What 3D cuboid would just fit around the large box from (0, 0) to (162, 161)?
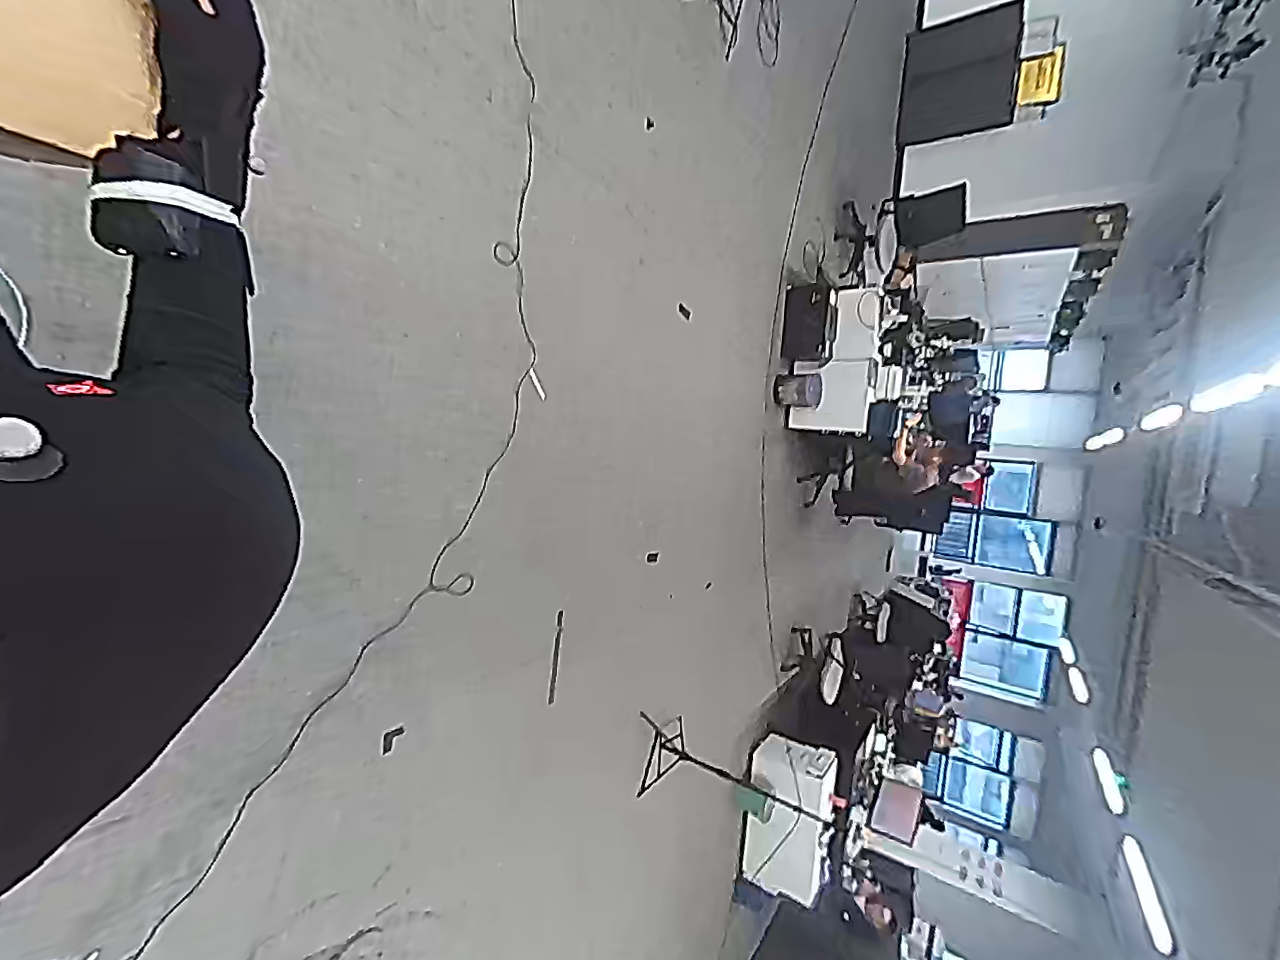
[{"bbox_3d":[-0.552,-0.412,0.270,0.408,0.320,0.320,-7,116,-60],"label":"large box"}]
